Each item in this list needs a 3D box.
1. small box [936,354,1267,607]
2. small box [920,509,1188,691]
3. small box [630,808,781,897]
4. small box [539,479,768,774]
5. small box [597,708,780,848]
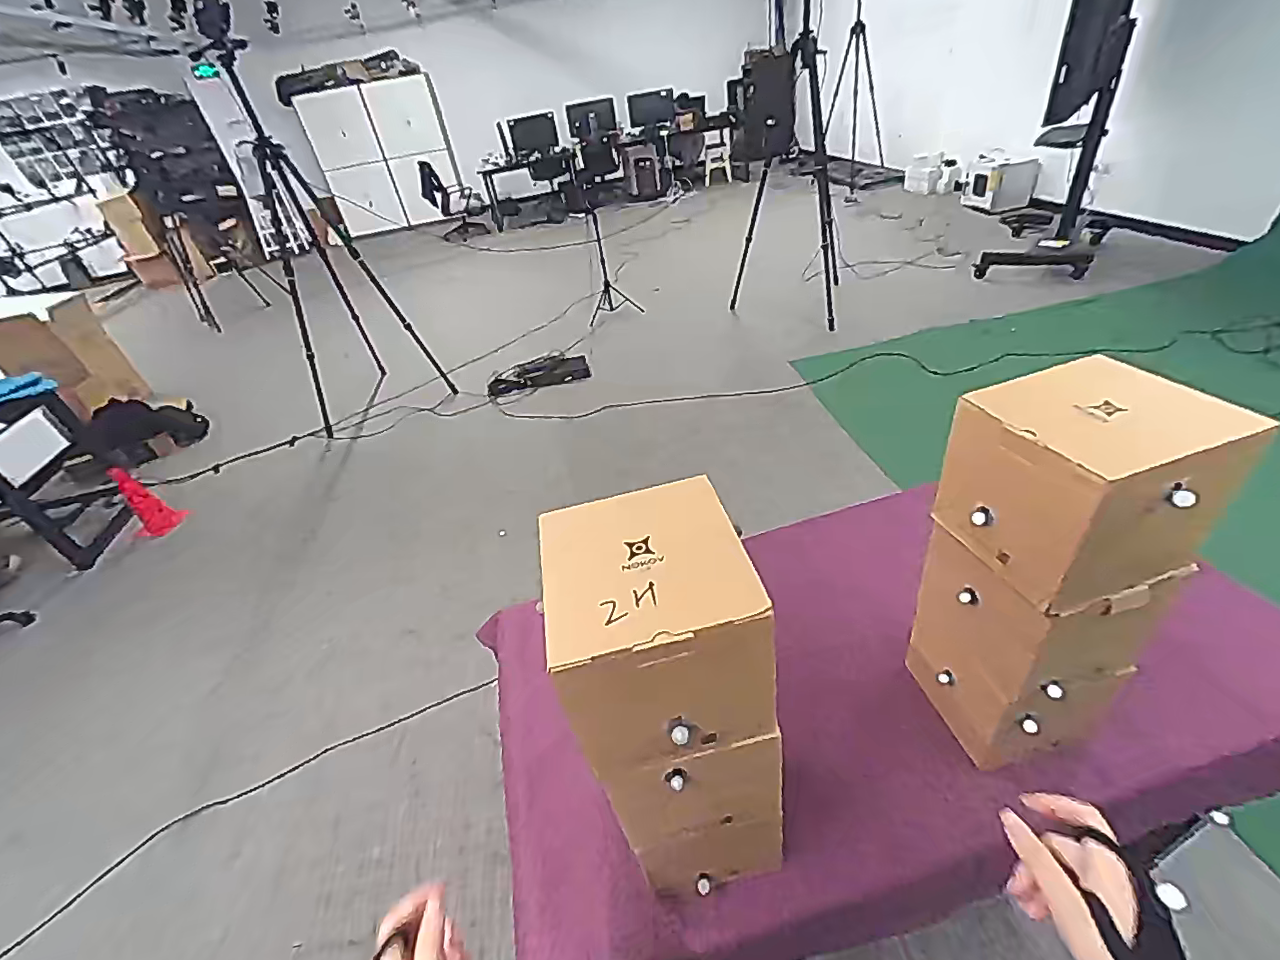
[{"bbox_3d":[0.440,-0.002,0.554,0.179,0.176,0.168,-18,37,-7],"label":"small box"},{"bbox_3d":[0.470,0.126,0.650,0.168,0.176,0.179,-16,36,-6],"label":"small box"},{"bbox_3d":[0.071,0.388,0.690,0.168,0.176,0.179,-13,37,-1],"label":"small box"},{"bbox_3d":[0.009,0.129,0.496,0.168,0.176,0.179,-14,37,-3],"label":"small box"},{"bbox_3d":[0.044,0.259,0.592,0.168,0.176,0.179,-14,36,-1],"label":"small box"}]
